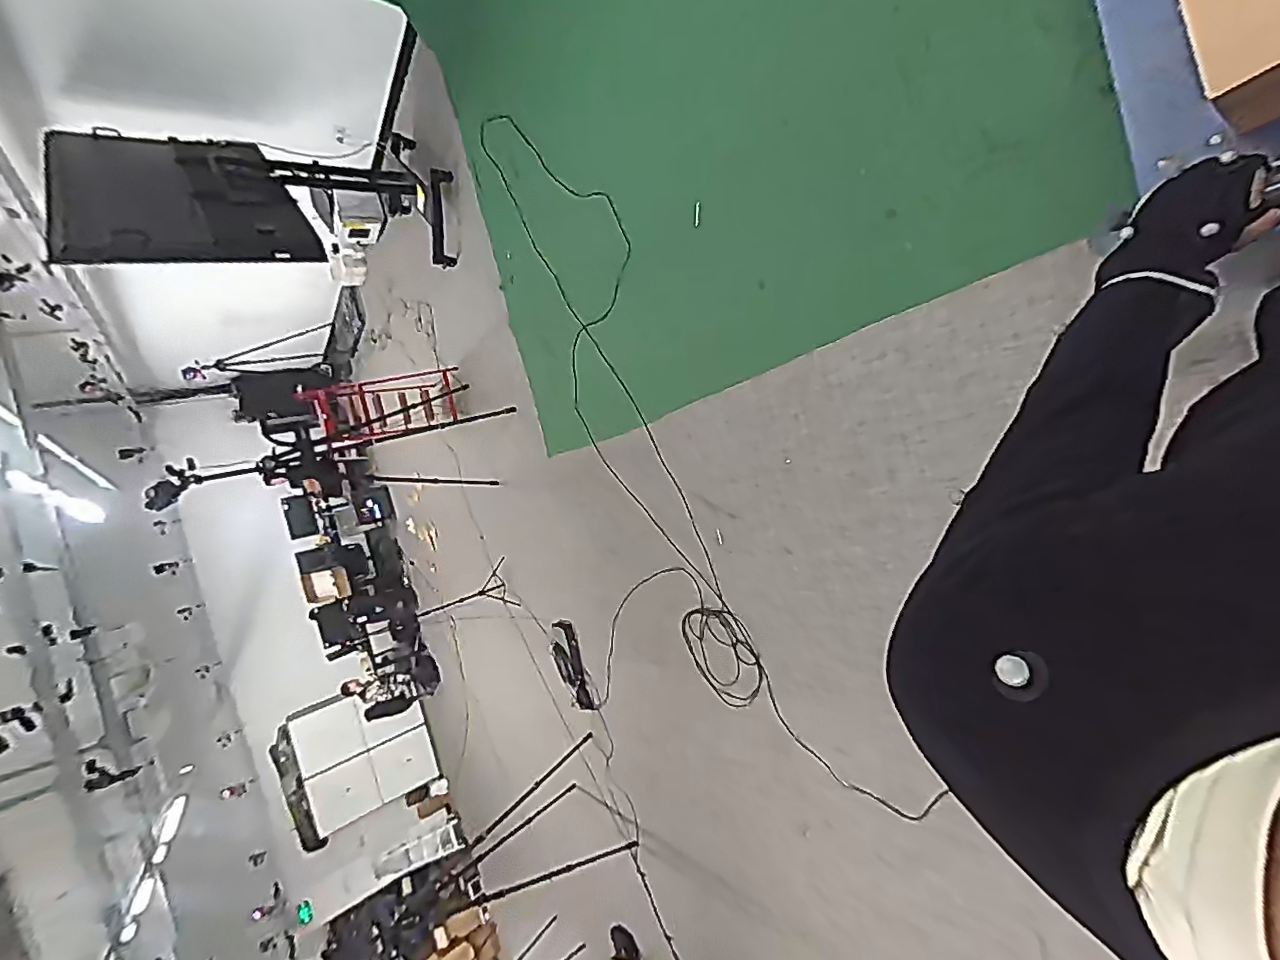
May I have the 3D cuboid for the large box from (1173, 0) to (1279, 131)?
[{"bbox_3d":[0.959,-0.784,0.736,0.320,0.320,0.408,-16,89,54],"label":"large box"}]
